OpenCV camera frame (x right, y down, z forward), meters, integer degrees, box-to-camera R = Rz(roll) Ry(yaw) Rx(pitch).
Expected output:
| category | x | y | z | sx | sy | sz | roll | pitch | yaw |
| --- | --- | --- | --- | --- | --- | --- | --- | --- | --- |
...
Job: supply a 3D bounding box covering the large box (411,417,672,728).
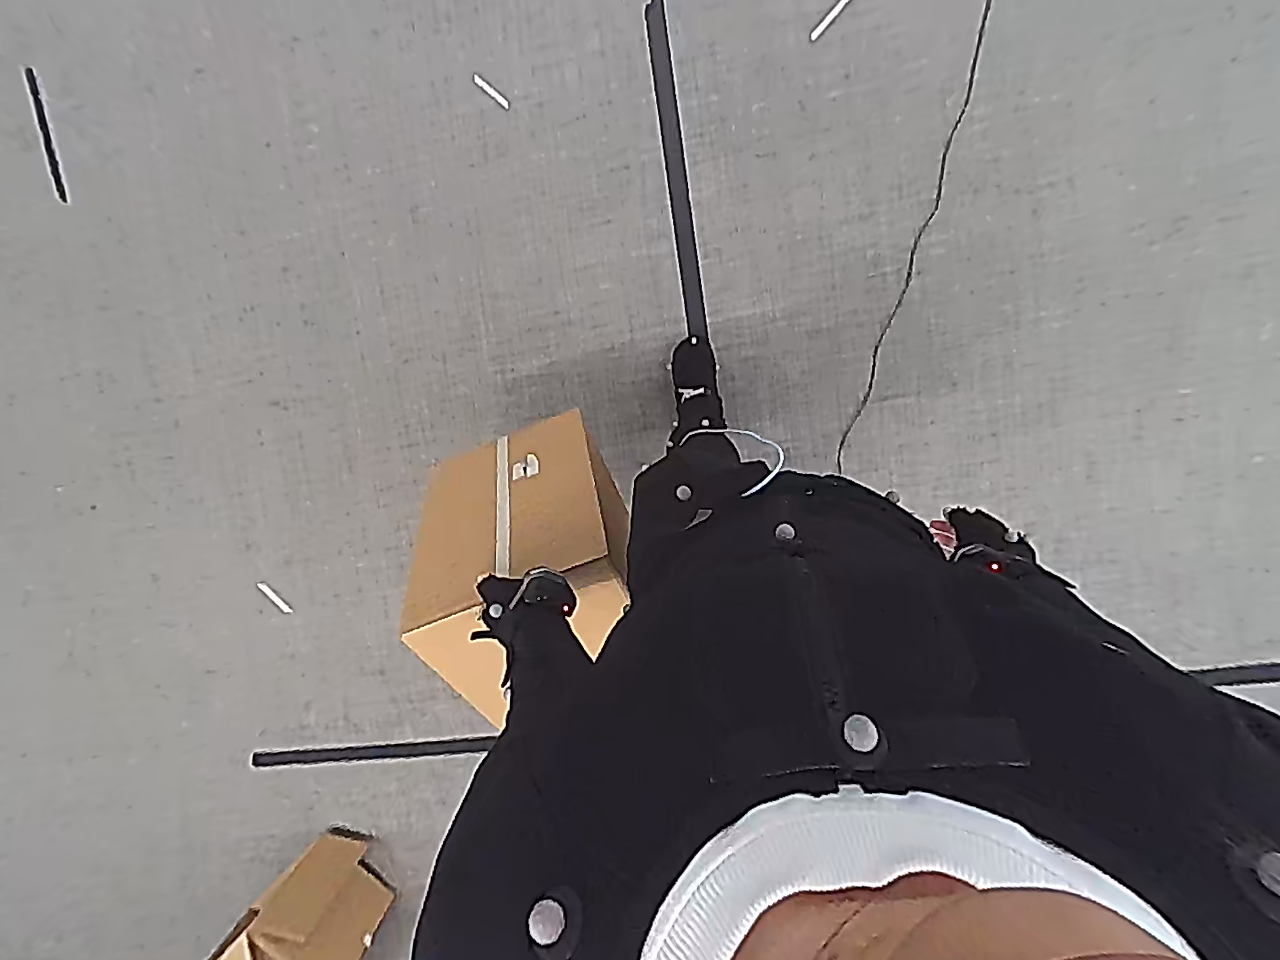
| category | x | y | z | sx | sy | sz | roll | pitch | yaw |
| --- | --- | --- | --- | --- | --- | --- | --- | --- | --- |
| large box | -0.168 | 0.153 | 0.984 | 0.320 | 0.408 | 0.320 | -20 | 127 | 2 |
